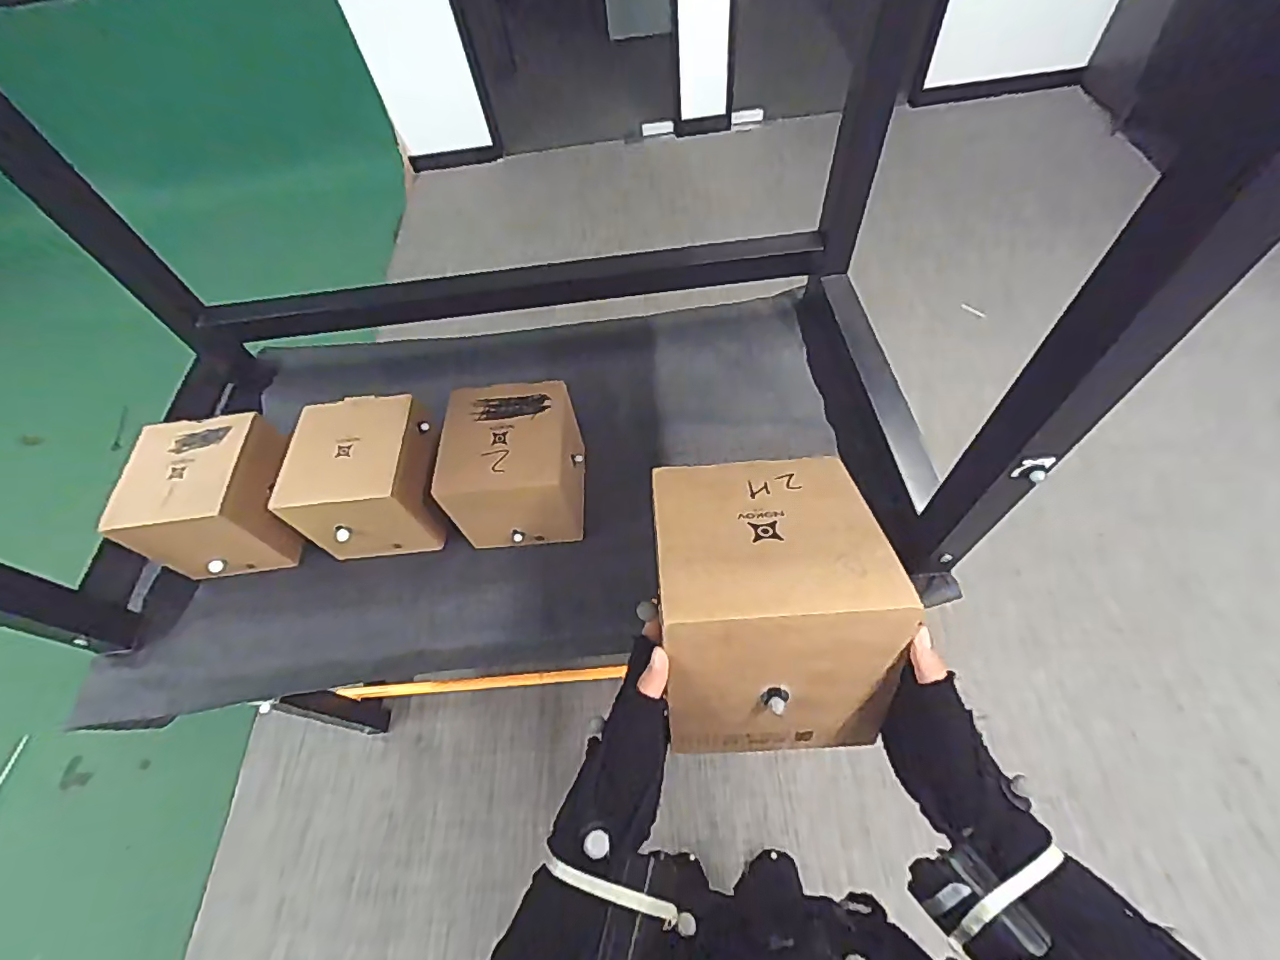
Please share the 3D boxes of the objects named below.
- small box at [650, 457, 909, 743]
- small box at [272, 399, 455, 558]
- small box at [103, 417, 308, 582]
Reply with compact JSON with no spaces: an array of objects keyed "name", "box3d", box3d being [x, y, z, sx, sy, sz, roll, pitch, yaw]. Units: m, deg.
[{"name":"small box","box3d":[0.096,0.101,0.454,0.168,0.176,0.179,-4,34,2]},{"name":"small box","box3d":[-0.390,0.007,0.803,0.168,0.176,0.179,-5,56,2]},{"name":"small box","box3d":[-0.615,0.033,0.809,0.168,0.176,0.179,-8,57,2]}]
